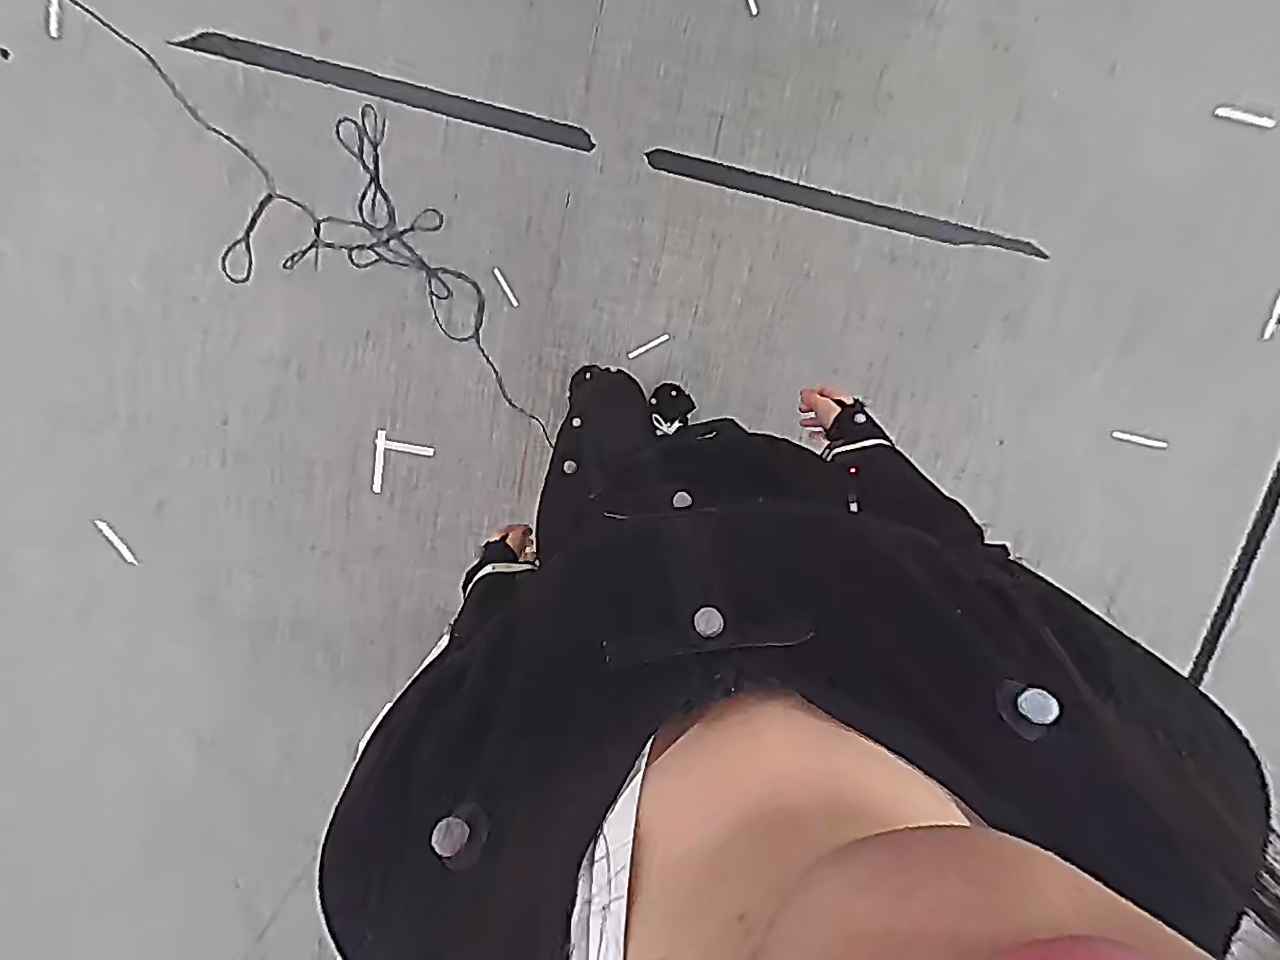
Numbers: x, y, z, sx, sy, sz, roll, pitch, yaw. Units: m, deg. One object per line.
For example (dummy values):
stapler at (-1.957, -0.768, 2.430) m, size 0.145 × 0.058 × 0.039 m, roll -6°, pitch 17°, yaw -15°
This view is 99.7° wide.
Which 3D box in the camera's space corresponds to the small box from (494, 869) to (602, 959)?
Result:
small box at (-0.169, 0.847, 0.963) m, size 0.168 × 0.176 × 0.179 m, roll 17°, pitch 100°, yaw -3°
